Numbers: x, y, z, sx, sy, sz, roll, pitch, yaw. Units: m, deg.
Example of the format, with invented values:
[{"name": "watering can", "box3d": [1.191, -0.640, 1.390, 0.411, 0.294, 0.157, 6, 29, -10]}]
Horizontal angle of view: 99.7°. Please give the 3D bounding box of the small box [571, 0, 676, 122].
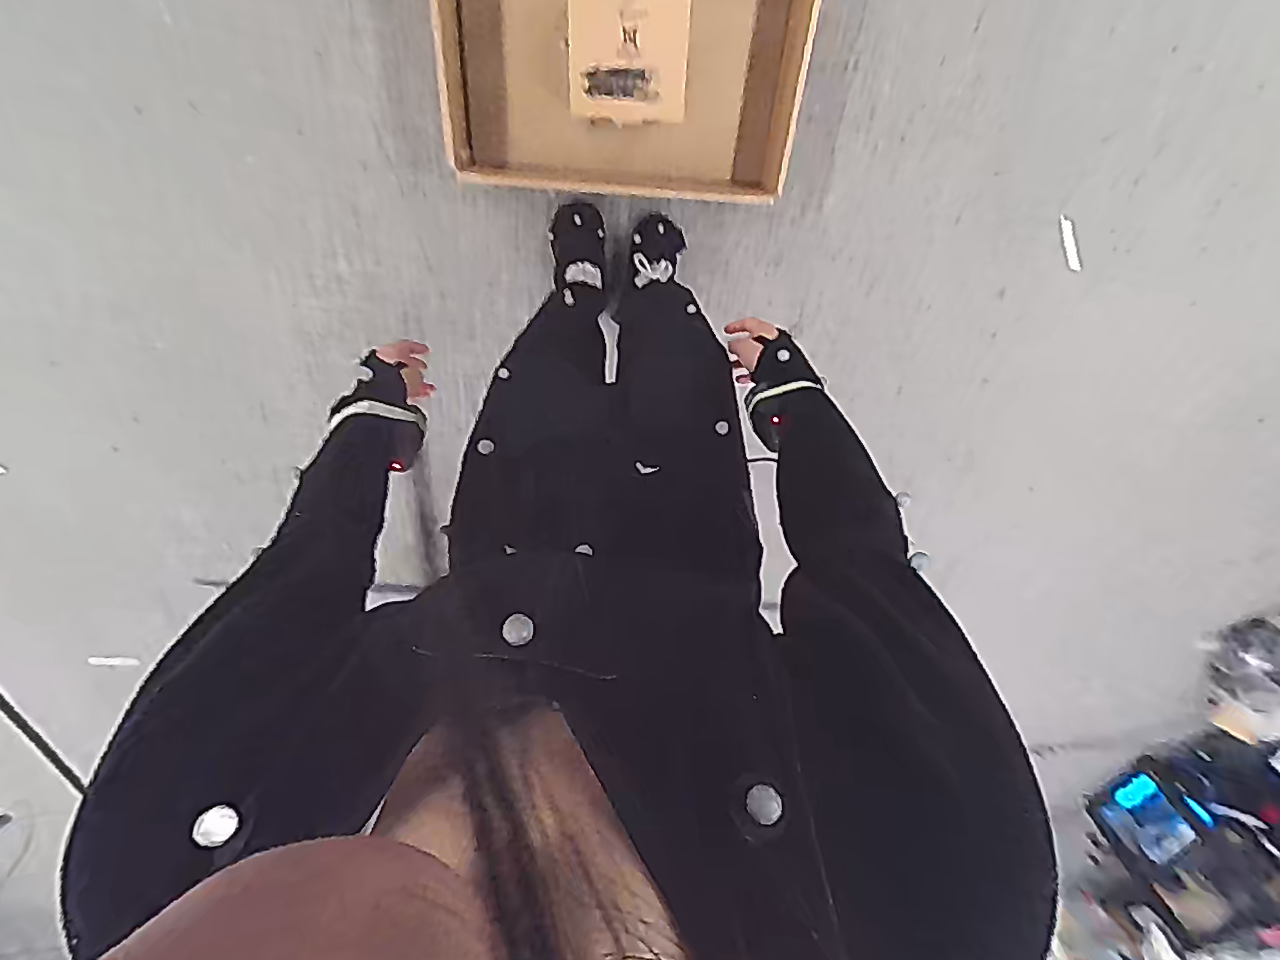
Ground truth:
[{"name": "small box", "box3d": [-0.037, -0.733, 0.940, 0.168, 0.176, 0.179, 0, 125, -6]}]
